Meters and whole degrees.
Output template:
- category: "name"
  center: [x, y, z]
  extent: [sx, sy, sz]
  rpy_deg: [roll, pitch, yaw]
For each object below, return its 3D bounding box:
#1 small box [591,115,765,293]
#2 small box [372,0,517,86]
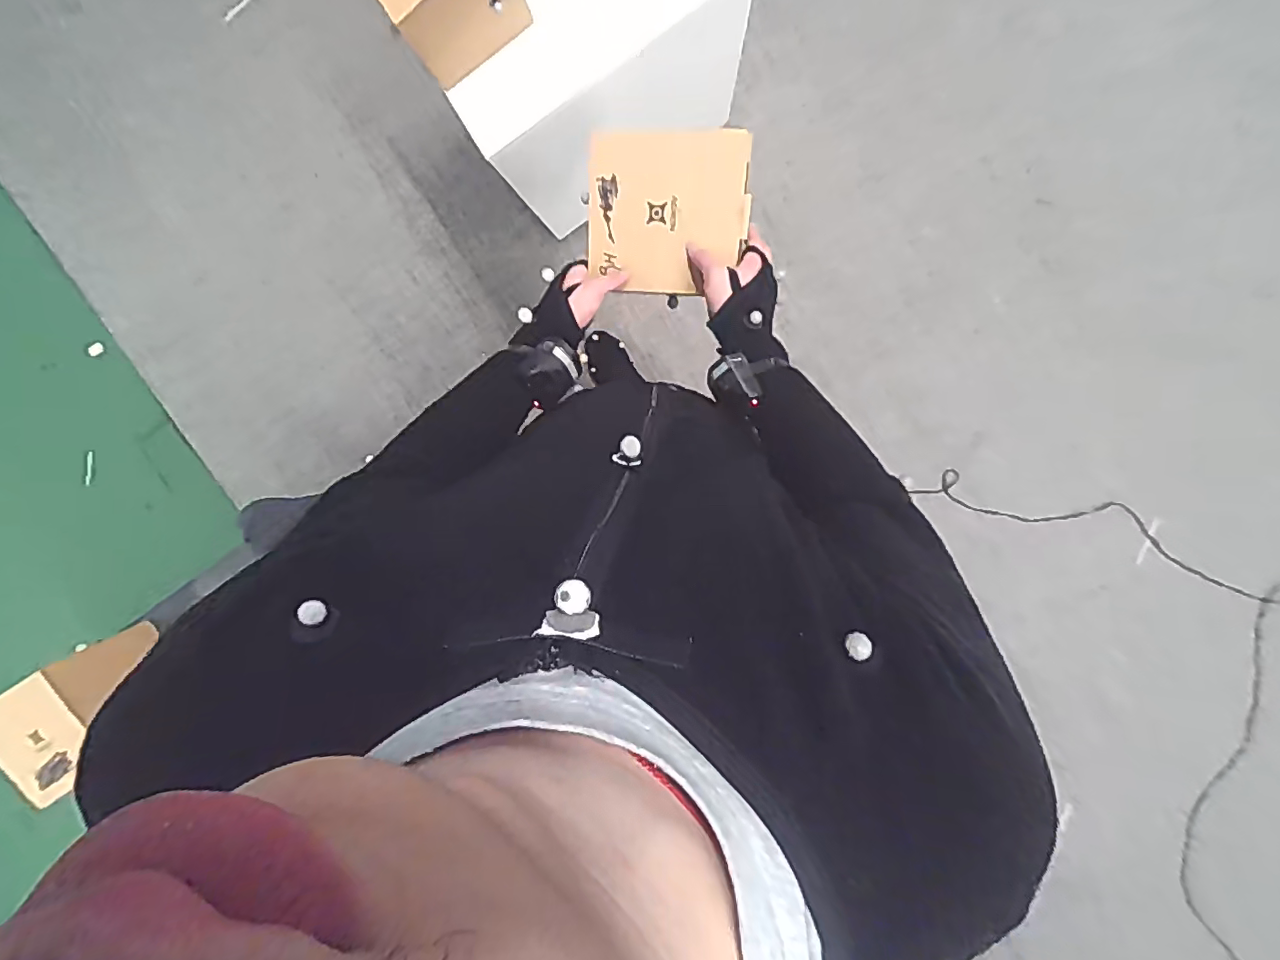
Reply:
- category: "small box"
  center: [0.044, -0.316, 0.650]
  extent: [0.179, 0.176, 0.168]
  rpy_deg: [5, 108, 6]
- category: "small box"
  center: [-0.286, -0.694, 0.728]
  extent: [0.179, 0.176, 0.168]
  rpy_deg: [-34, 97, 7]
